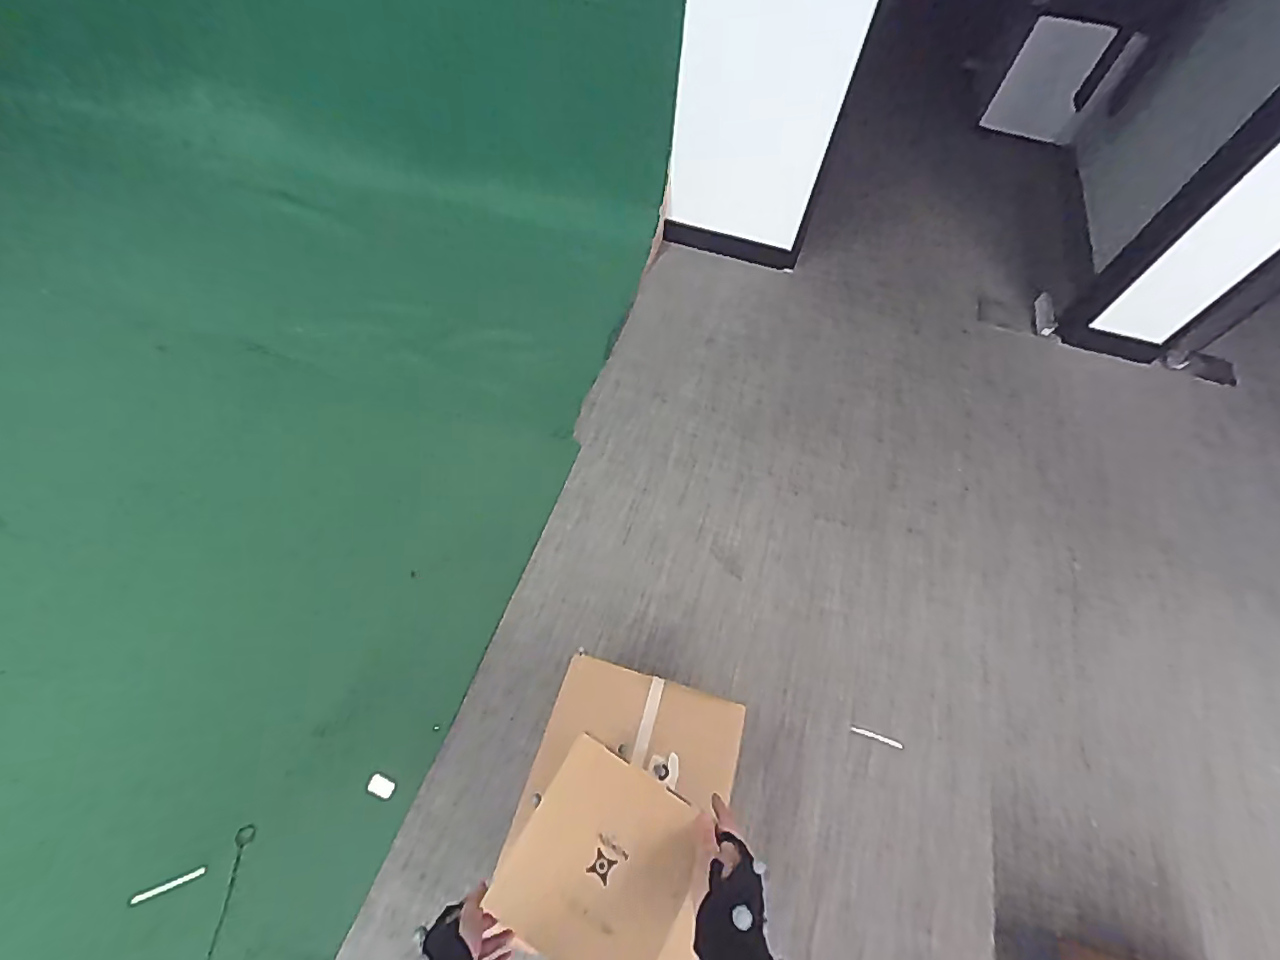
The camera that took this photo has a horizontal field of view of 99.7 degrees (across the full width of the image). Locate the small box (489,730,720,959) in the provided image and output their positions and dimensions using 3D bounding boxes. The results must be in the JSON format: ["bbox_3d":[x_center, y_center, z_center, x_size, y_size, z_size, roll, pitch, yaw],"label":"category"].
[{"bbox_3d":[-0.036,0.406,0.594,0.168,0.176,0.179,29,64,13],"label":"small box"}]

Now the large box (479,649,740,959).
[{"bbox_3d":[-0.035,0.576,0.964,0.320,0.320,0.408,17,60,6],"label":"large box"}]
